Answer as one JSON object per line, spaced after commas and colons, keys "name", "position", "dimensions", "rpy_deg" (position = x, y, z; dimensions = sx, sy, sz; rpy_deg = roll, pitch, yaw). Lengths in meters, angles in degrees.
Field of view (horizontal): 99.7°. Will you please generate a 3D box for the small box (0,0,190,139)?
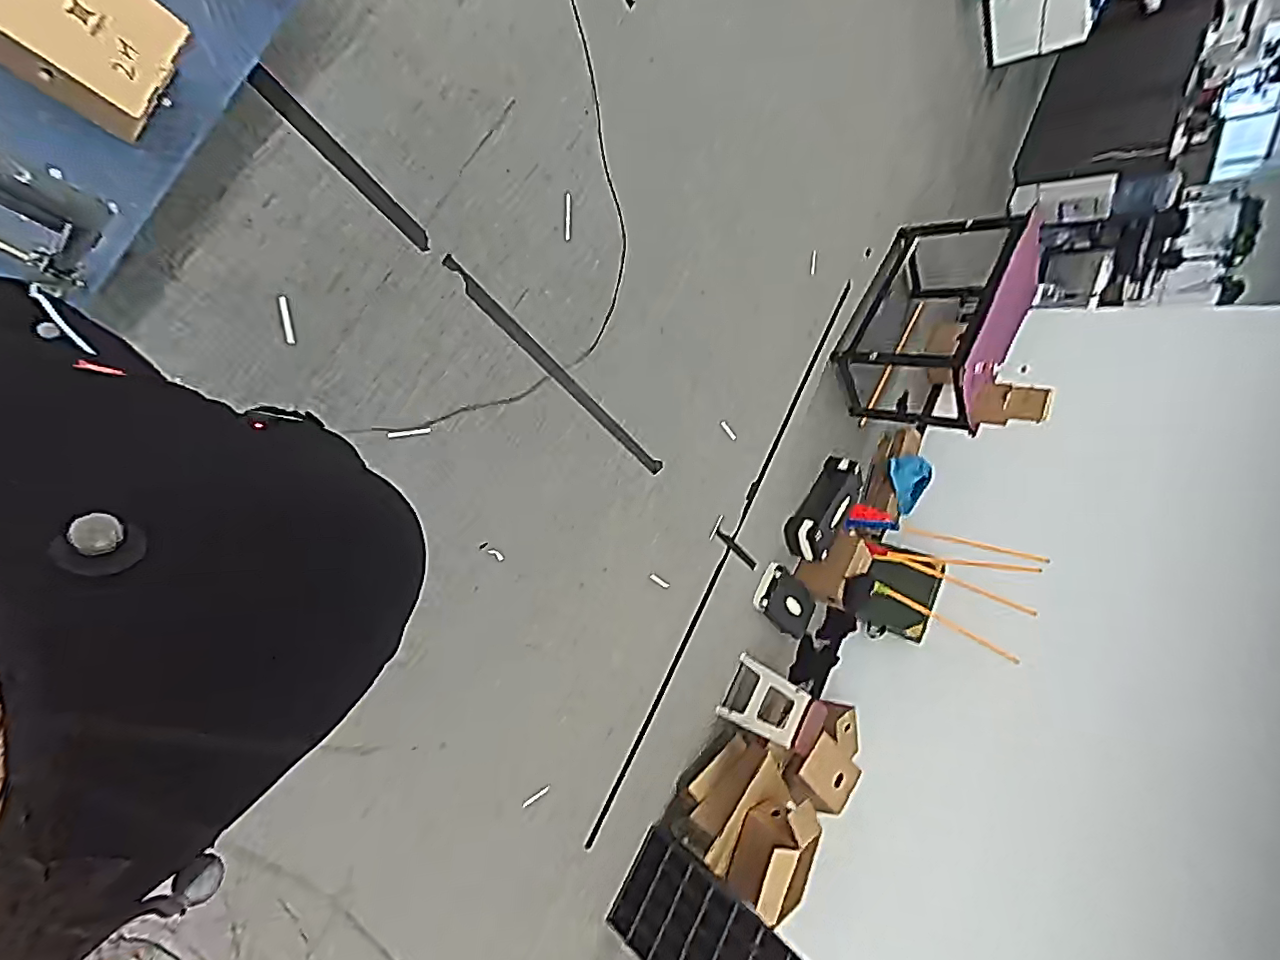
{"name": "small box", "position": [-0.815, -0.645, 0.795], "dimensions": [0.179, 0.176, 0.168], "rpy_deg": [31, 79, -47]}
